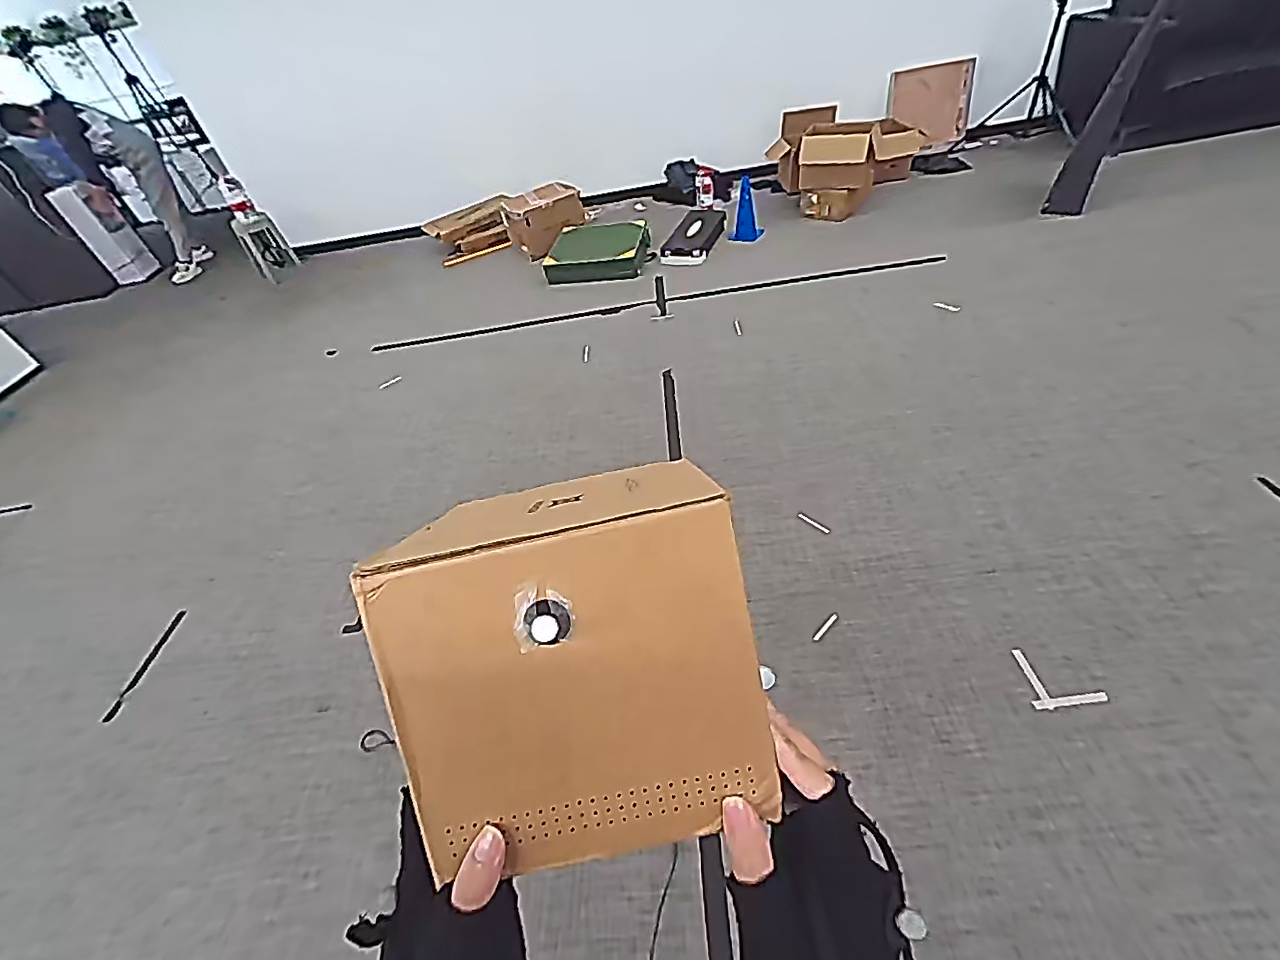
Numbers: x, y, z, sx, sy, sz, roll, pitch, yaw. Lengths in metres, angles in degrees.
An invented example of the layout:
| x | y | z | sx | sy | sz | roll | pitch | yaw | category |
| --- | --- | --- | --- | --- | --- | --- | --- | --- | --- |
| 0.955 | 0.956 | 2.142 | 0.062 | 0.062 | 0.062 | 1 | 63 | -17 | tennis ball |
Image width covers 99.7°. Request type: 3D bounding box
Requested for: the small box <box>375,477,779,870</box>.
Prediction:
| x | y | z | sx | sy | sz | roll | pitch | yaw | category |
| --- | --- | --- | --- | --- | --- | --- | --- | --- | --- |
| -0.028 | 0.105 | 0.345 | 0.179 | 0.176 | 0.168 | -12 | 7 | 1 | small box |
